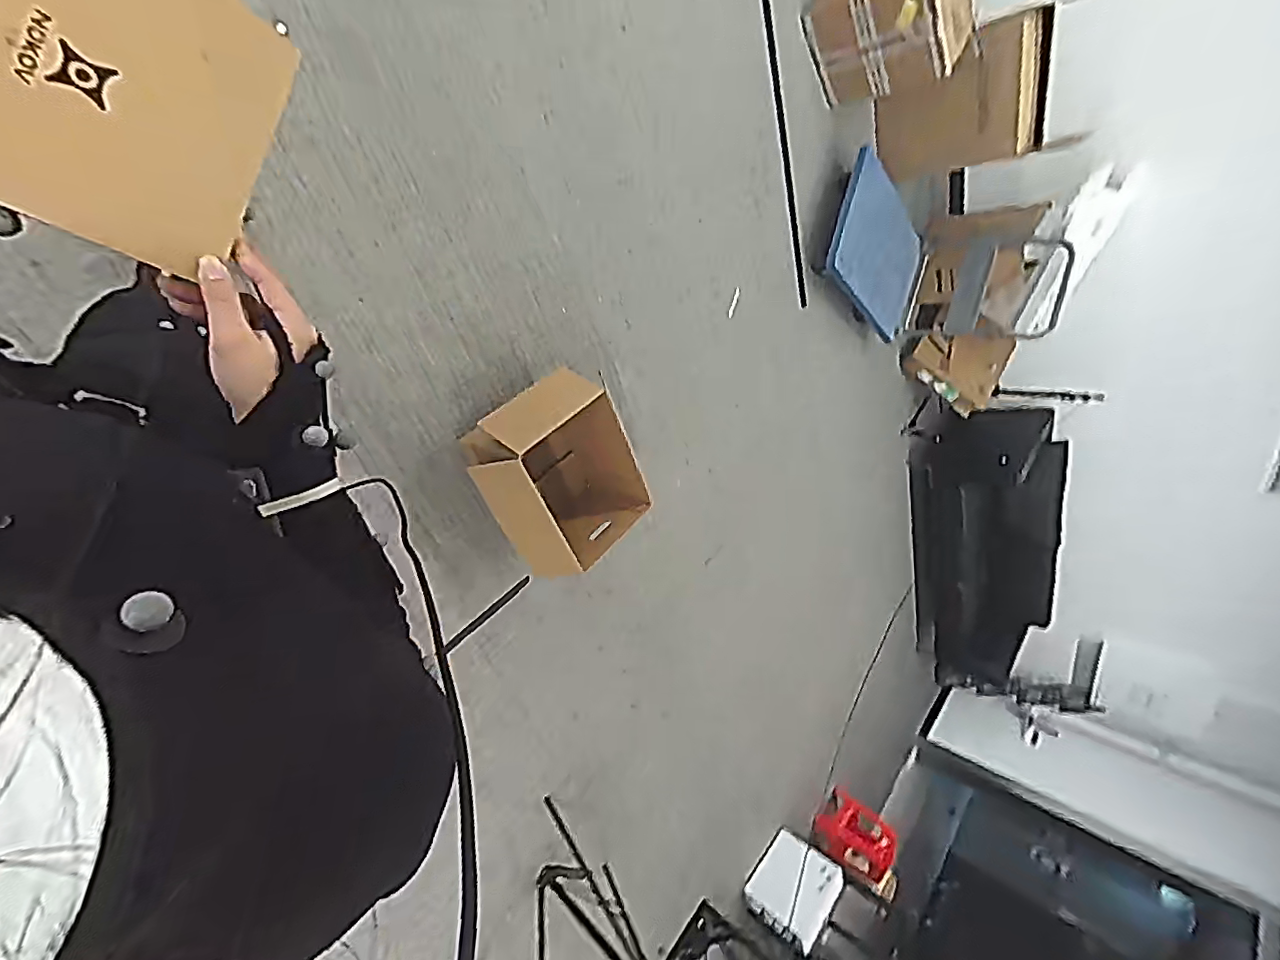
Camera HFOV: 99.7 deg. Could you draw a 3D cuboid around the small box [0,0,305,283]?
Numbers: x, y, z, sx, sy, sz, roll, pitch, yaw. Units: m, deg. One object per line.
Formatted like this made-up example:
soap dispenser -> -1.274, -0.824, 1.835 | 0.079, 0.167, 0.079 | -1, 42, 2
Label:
small box -> -0.350, -0.248, 0.335 | 0.179, 0.176, 0.168 | 18, 97, -49
